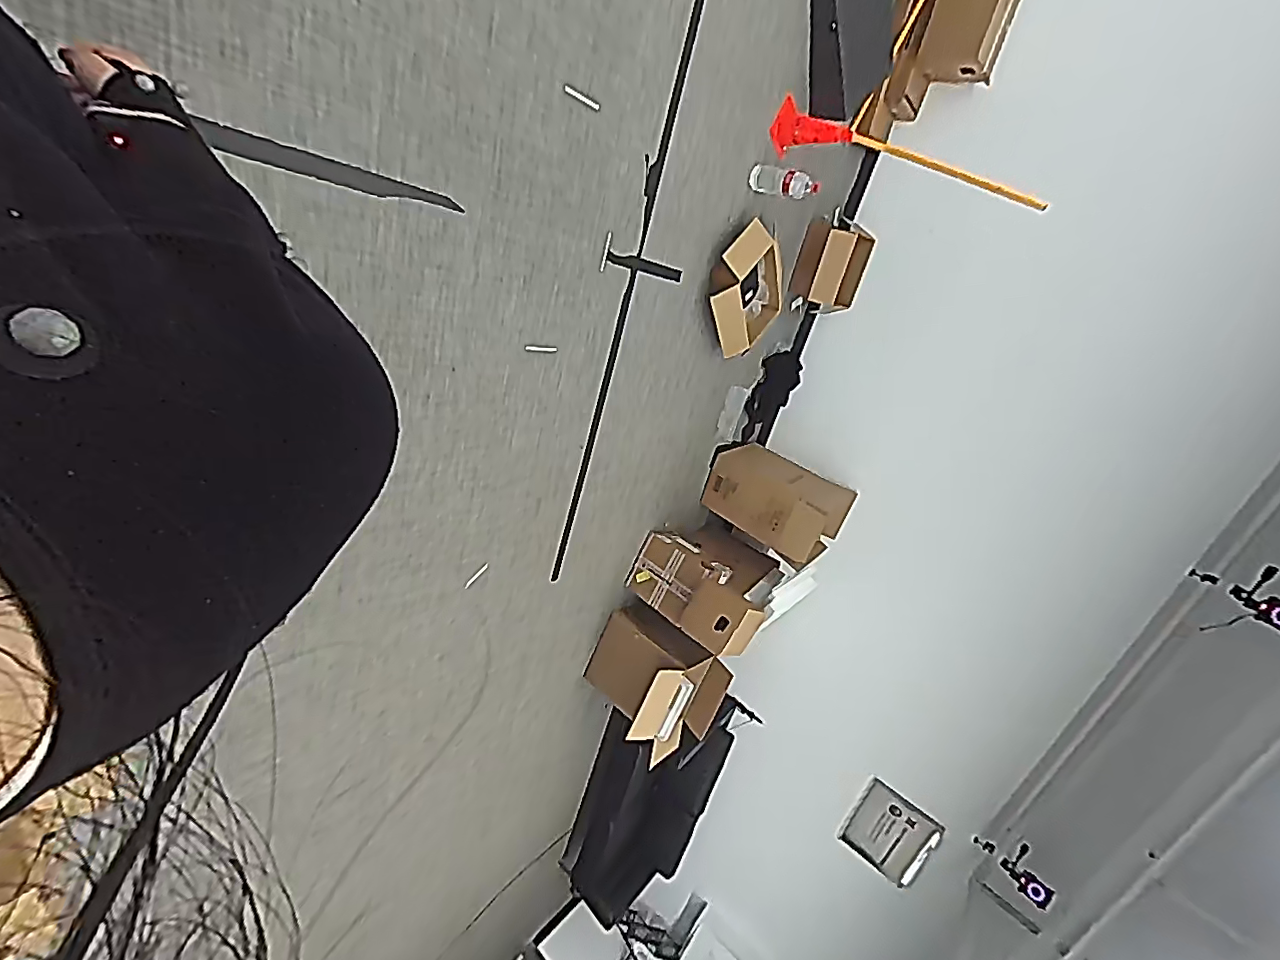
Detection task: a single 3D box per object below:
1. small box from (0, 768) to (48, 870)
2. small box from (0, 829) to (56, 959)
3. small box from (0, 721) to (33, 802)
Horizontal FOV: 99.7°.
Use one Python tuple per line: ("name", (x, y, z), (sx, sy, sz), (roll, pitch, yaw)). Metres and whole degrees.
("small box", (-1.363, 0.739, 1.105), (0.168, 0.176, 0.179), (-20, 133, -48))
("small box", (-1.246, 0.812, 1.014), (0.168, 0.176, 0.179), (-20, 131, -48))
("small box", (-1.485, 0.664, 1.185), (0.168, 0.176, 0.179), (-18, 131, -49))
